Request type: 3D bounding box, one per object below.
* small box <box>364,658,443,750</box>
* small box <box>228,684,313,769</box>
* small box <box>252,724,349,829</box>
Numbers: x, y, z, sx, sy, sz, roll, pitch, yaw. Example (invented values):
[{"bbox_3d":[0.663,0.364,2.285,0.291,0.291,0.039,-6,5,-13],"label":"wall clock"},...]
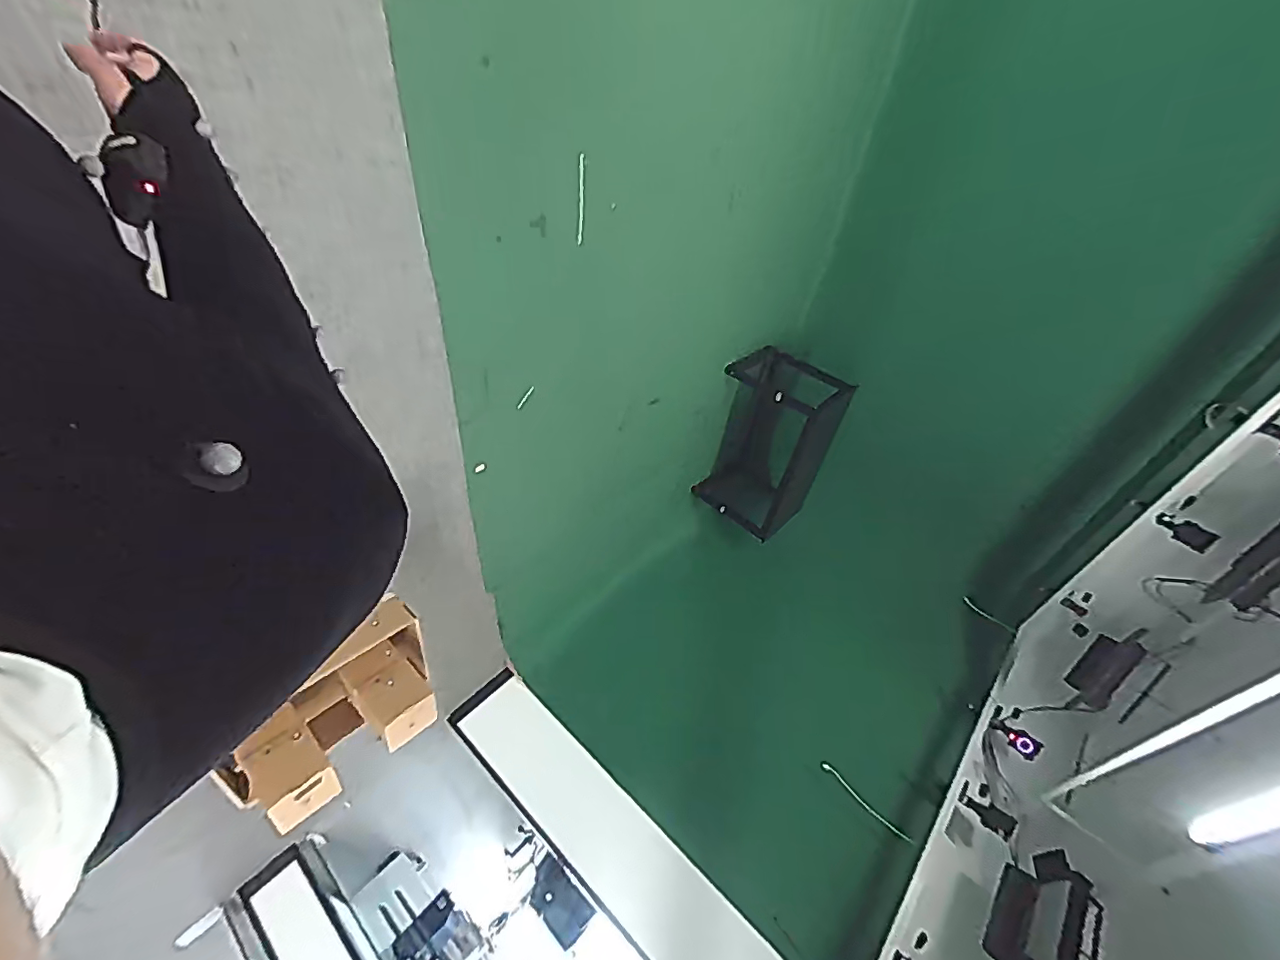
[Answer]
[{"bbox_3d":[-0.748,0.704,1.715,0.168,0.176,0.179,-30,144,-41],"label":"small box"},{"bbox_3d":[-1.077,0.746,1.603,0.168,0.176,0.179,-30,144,-38],"label":"small box"},{"bbox_3d":[-0.955,0.825,1.525,0.168,0.176,0.179,-29,144,-39],"label":"small box"}]
